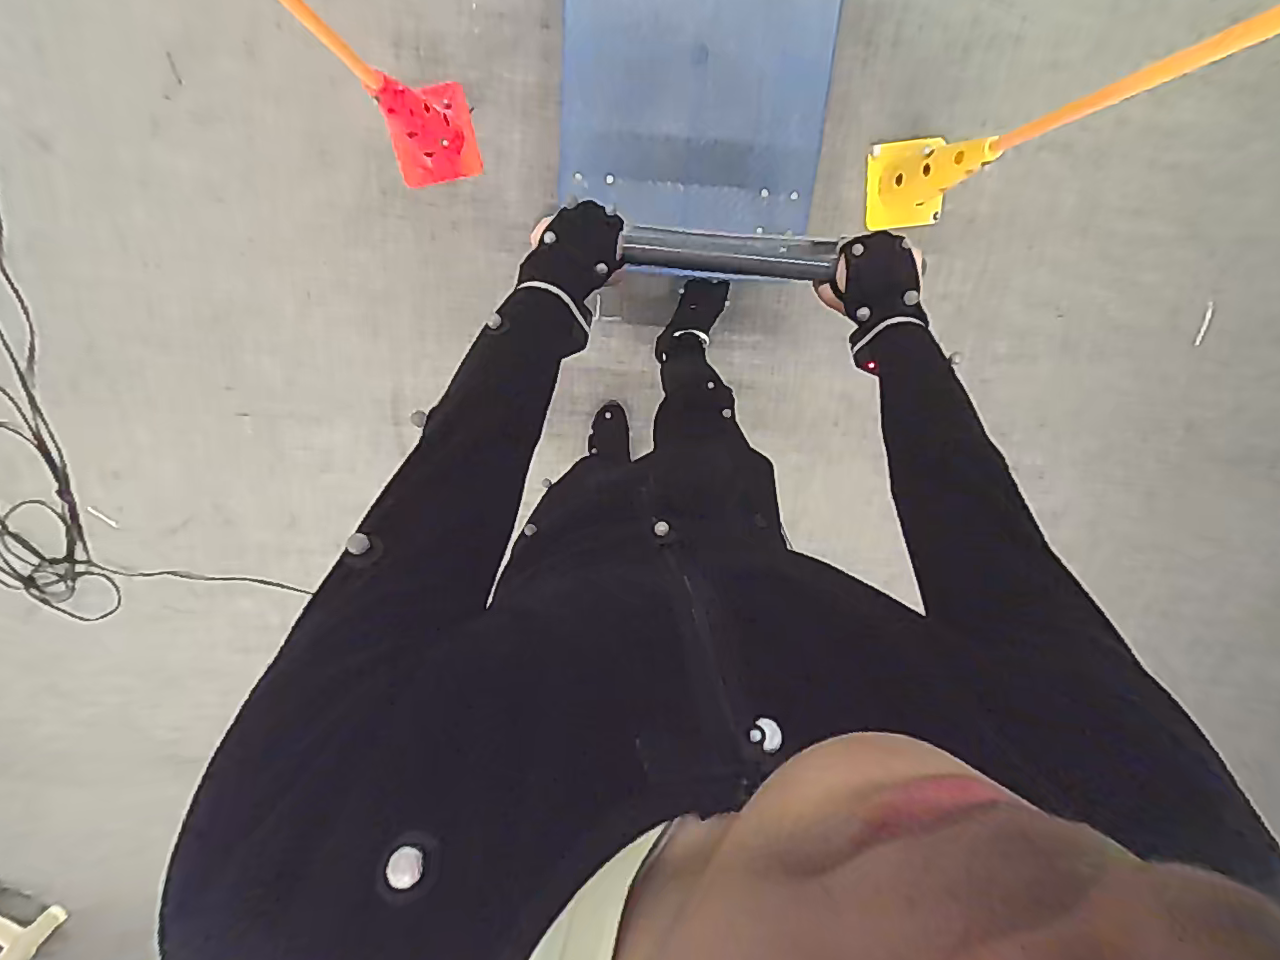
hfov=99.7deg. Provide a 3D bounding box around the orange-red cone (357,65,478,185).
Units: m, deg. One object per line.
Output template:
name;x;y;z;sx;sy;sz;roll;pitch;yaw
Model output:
orange-red cone;-0.496;-0.773;1.133;0.199;0.360;0.198;-10;108;2
